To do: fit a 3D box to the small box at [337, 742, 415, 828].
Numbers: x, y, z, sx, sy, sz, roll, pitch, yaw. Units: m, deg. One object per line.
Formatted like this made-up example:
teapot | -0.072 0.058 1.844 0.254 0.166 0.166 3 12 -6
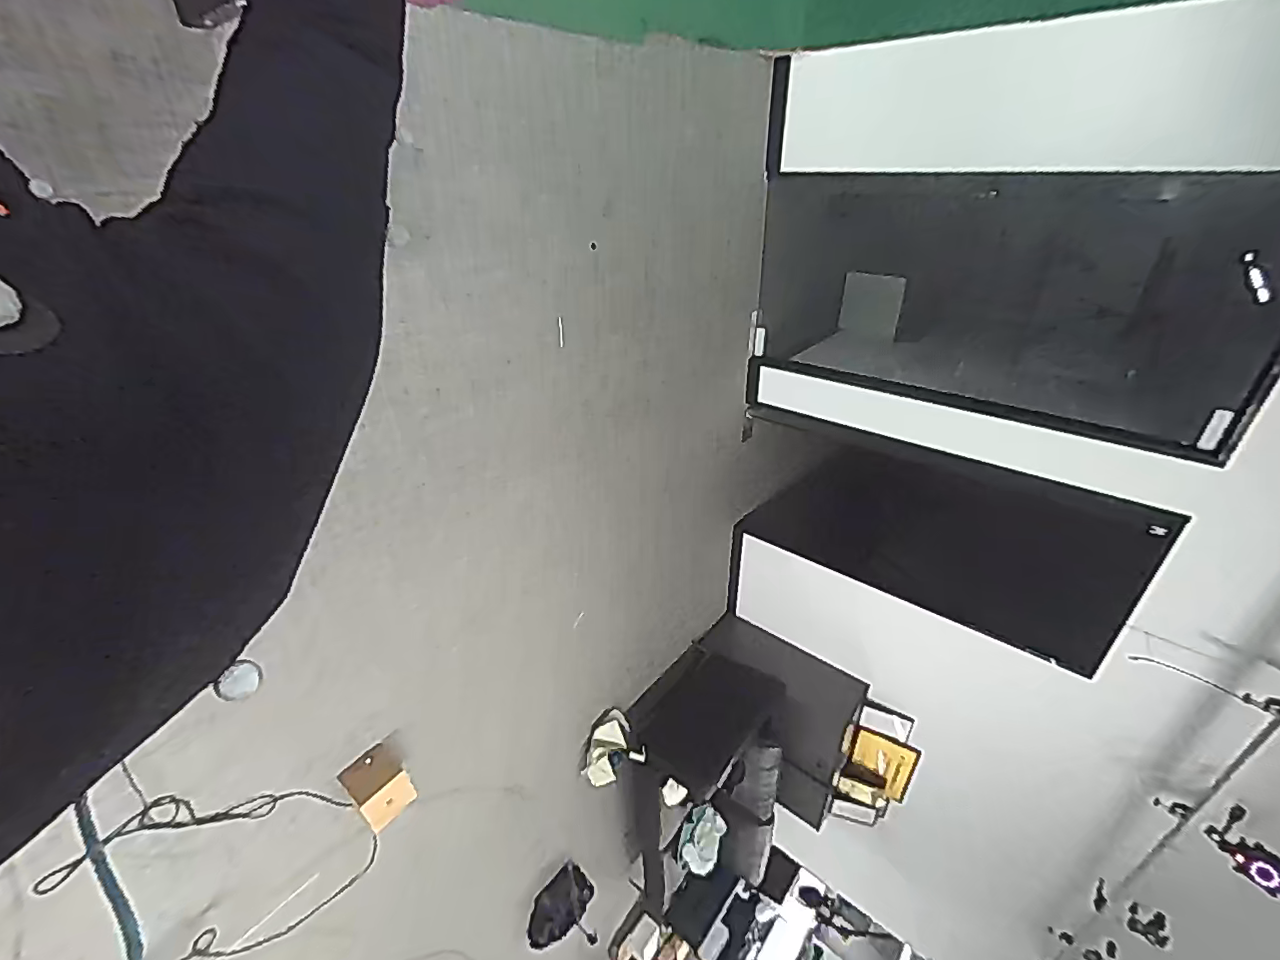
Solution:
small box | -0.935 1.071 1.914 0.168 0.176 0.179 -35 134 -40
